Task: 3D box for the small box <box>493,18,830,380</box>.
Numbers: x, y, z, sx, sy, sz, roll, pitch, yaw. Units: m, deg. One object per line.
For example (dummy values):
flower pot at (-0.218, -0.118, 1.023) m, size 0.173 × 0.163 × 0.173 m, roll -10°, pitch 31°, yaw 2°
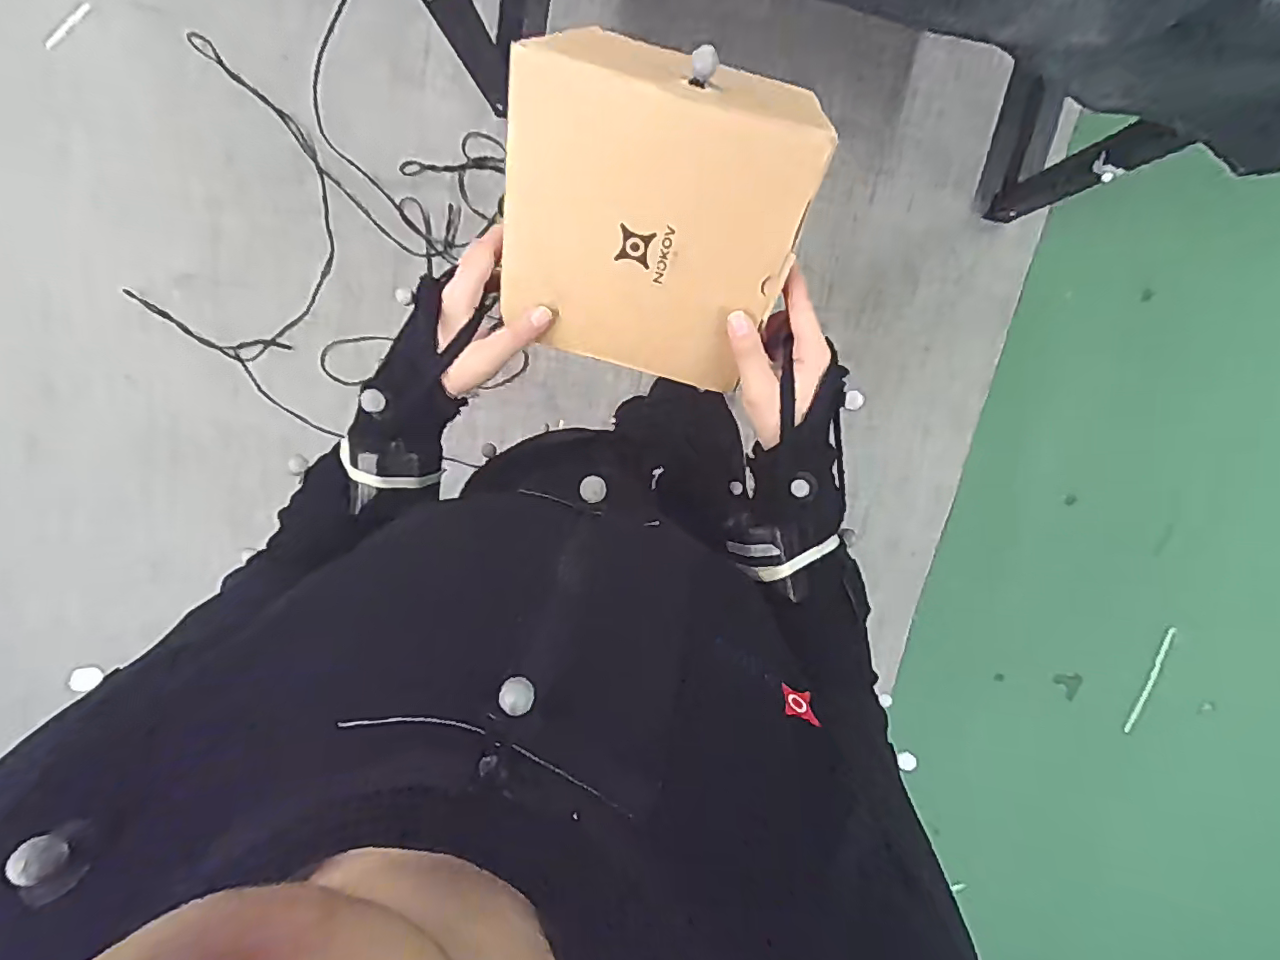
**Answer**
small box at (0.010, -0.202, 0.387) m, size 0.179 × 0.176 × 0.168 m, roll 14°, pitch 132°, yaw -2°
